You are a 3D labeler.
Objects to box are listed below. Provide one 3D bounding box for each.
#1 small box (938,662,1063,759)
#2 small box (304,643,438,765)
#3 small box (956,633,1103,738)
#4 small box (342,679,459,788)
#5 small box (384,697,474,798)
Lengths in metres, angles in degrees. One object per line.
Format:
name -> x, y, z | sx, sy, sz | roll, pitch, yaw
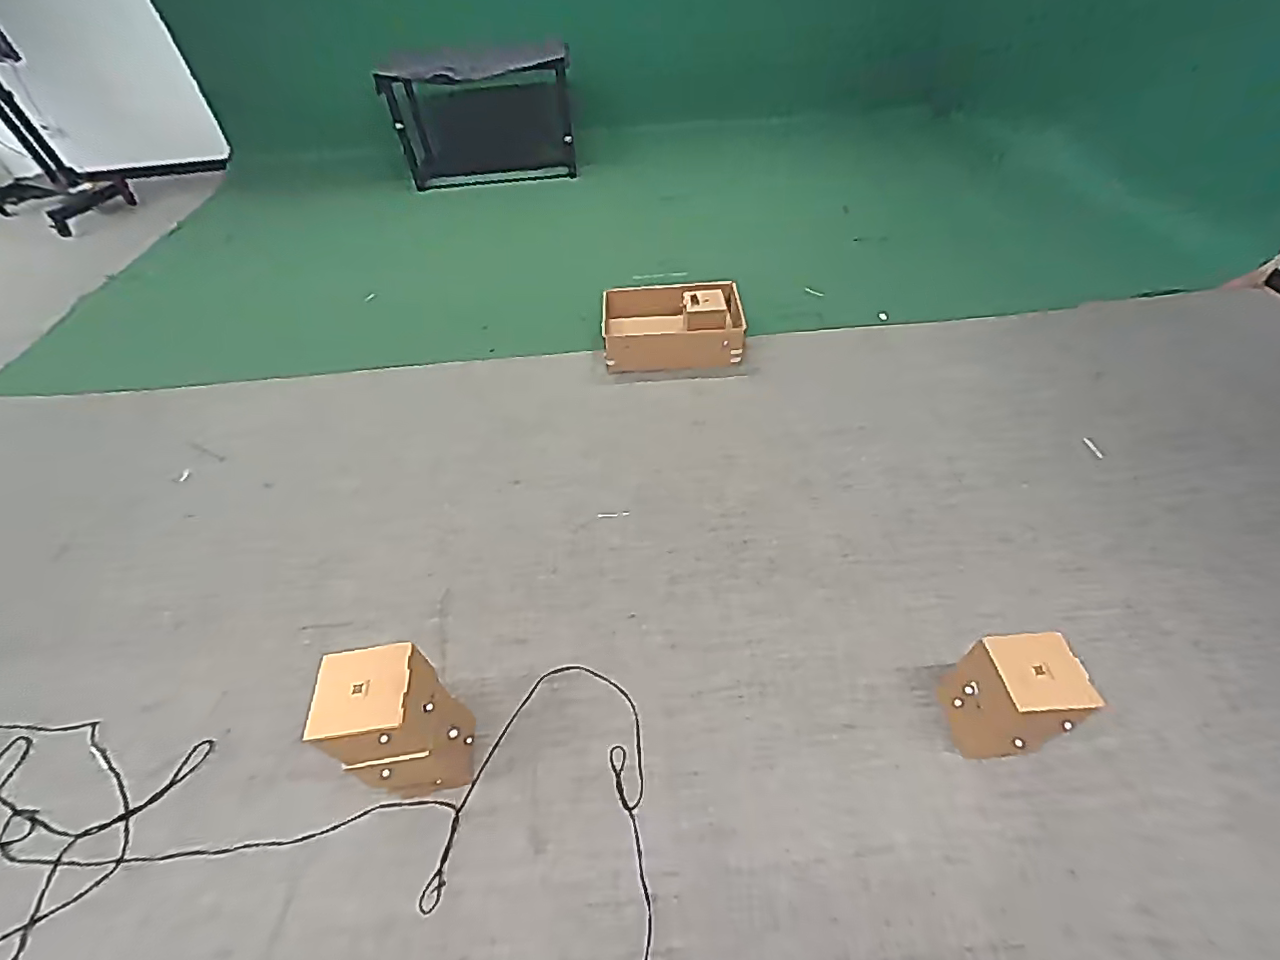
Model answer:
small box -> 0.863, 0.560, 1.319 | 0.168, 0.176, 0.179 | -5, 48, 1
small box -> -0.525, 0.451, 1.083 | 0.179, 0.176, 0.168 | -8, 48, -4
small box -> 0.844, 0.456, 1.194 | 0.179, 0.176, 0.168 | -5, 47, 1
small box -> -0.520, 0.565, 1.200 | 0.179, 0.176, 0.168 | -8, 48, -3
small box -> -0.516, 0.661, 1.333 | 0.179, 0.176, 0.168 | -11, 48, -5
